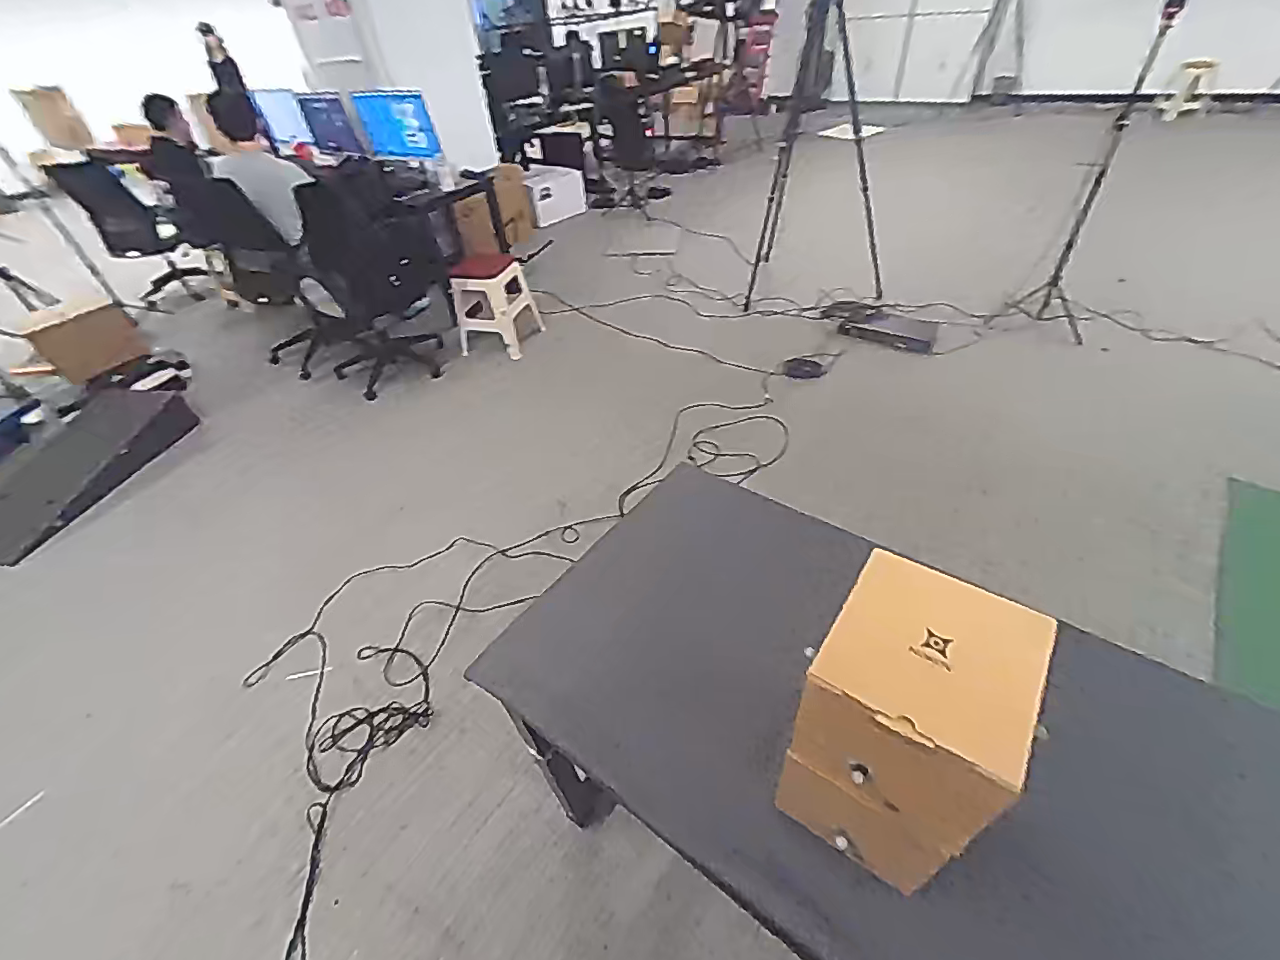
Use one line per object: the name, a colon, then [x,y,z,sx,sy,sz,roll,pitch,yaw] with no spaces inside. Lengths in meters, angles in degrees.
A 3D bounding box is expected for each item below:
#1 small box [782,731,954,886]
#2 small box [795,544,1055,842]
small box: [0.278,0.323,0.636,0.168,0.176,0.179,23,49,30]
small box: [0.265,0.202,0.529,0.168,0.176,0.179,23,49,29]
